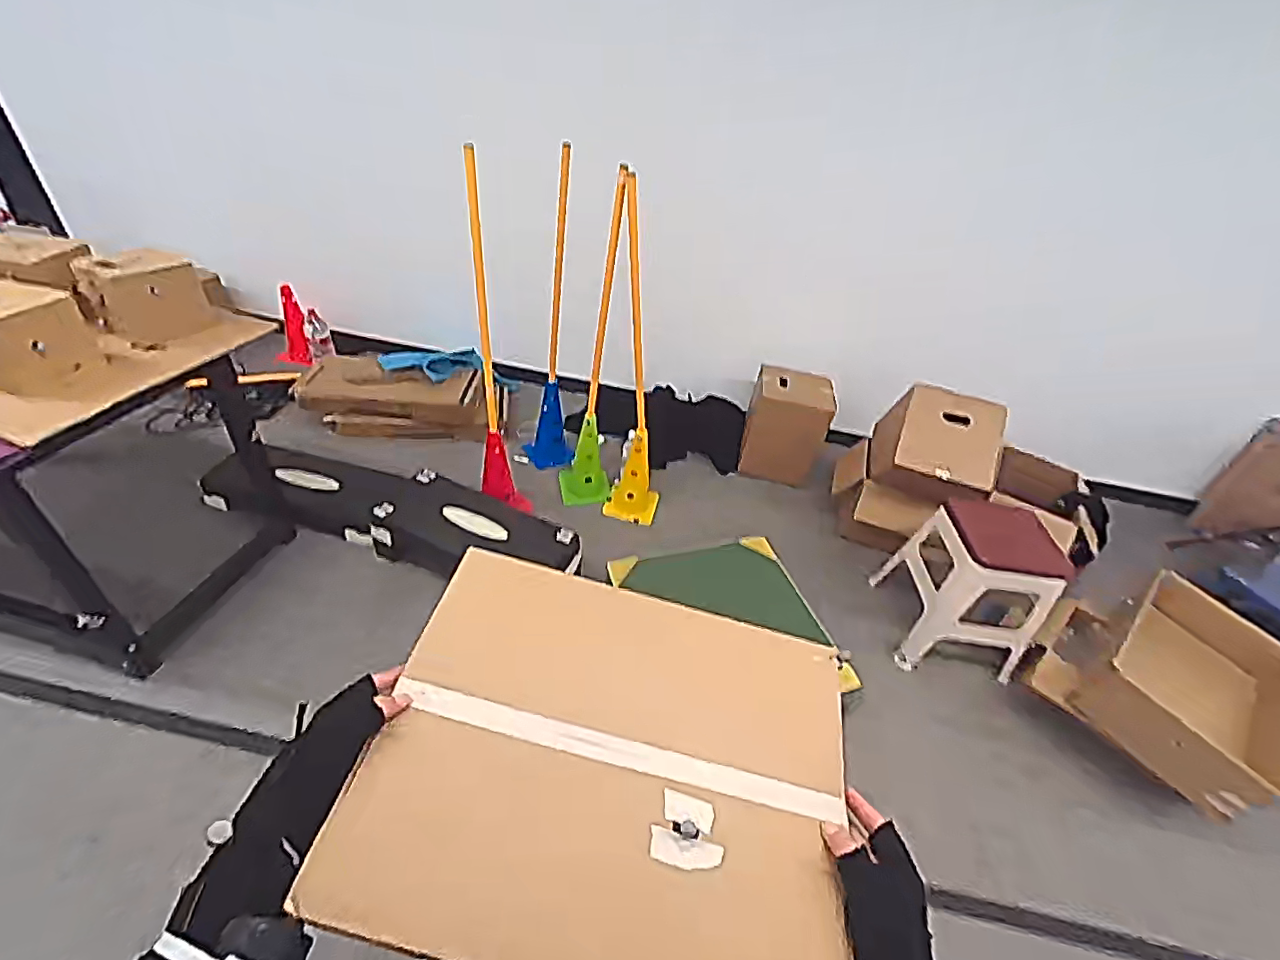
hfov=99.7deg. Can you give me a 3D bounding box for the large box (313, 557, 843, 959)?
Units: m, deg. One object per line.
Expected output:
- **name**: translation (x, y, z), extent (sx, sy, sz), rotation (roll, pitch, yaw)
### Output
- **large box**: translation (-0.044, 0.337, 0.593), extent (0.408, 0.320, 0.320), rotation (15, 48, 0)
